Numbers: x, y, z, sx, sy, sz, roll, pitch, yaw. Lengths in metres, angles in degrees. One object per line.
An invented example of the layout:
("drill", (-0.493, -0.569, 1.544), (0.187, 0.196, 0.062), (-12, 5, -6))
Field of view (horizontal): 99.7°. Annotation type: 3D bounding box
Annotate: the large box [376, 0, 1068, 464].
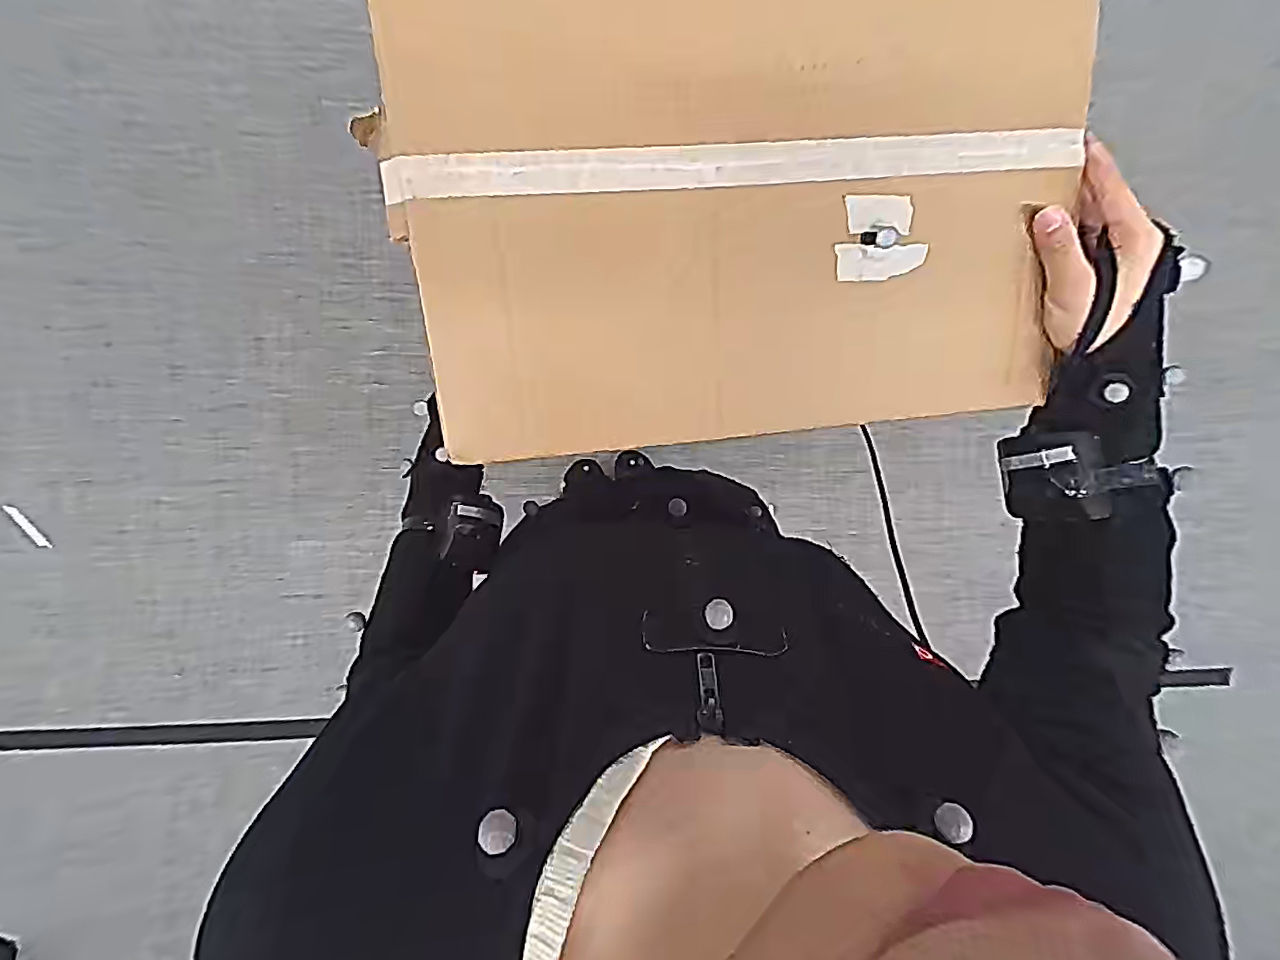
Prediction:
("large box", (0.044, -0.216, 0.463), (0.408, 0.320, 0.320), (-7, 105, -8))
